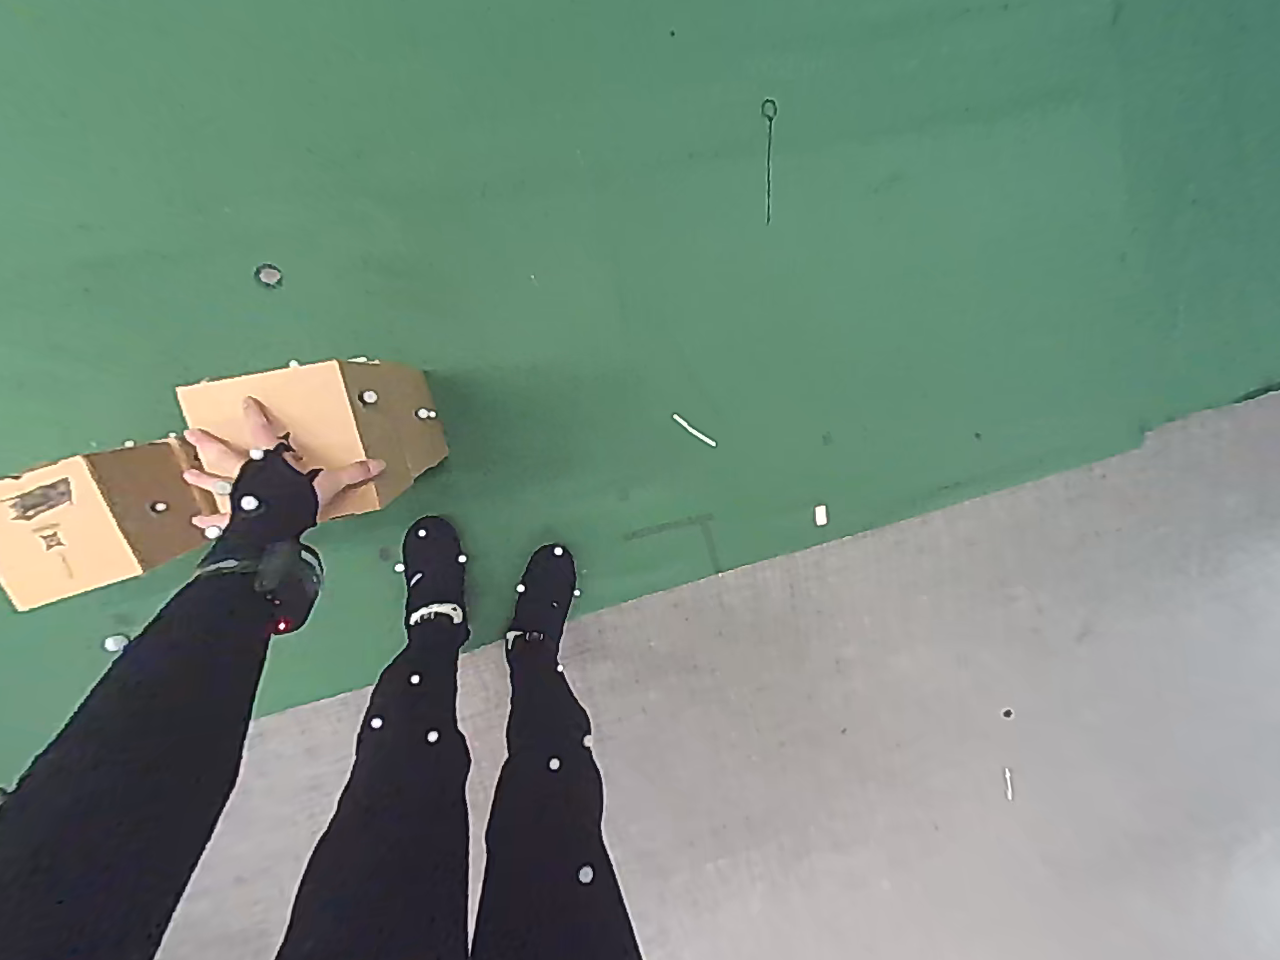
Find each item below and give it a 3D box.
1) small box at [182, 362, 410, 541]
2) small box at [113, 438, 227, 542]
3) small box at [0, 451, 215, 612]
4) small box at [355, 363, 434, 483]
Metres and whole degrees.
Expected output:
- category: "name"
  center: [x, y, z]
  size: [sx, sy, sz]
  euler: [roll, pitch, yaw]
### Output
- category: "small box"
  center: [-0.407, -0.044, 0.676]
  size: [0.168, 0.176, 0.179]
  euler: [-12, 102, -8]
- category: "small box"
  center: [-0.812, 0.024, 0.956]
  size: [0.168, 0.176, 0.179]
  euler: [-15, 102, -7]
- category: "small box"
  center: [-0.790, 0.062, 0.798]
  size: [0.168, 0.176, 0.179]
  euler: [-18, 103, -6]
- category: "small box"
  center: [-0.433, -0.077, 0.834]
  size: [0.168, 0.176, 0.179]
  euler: [-12, 102, -8]
